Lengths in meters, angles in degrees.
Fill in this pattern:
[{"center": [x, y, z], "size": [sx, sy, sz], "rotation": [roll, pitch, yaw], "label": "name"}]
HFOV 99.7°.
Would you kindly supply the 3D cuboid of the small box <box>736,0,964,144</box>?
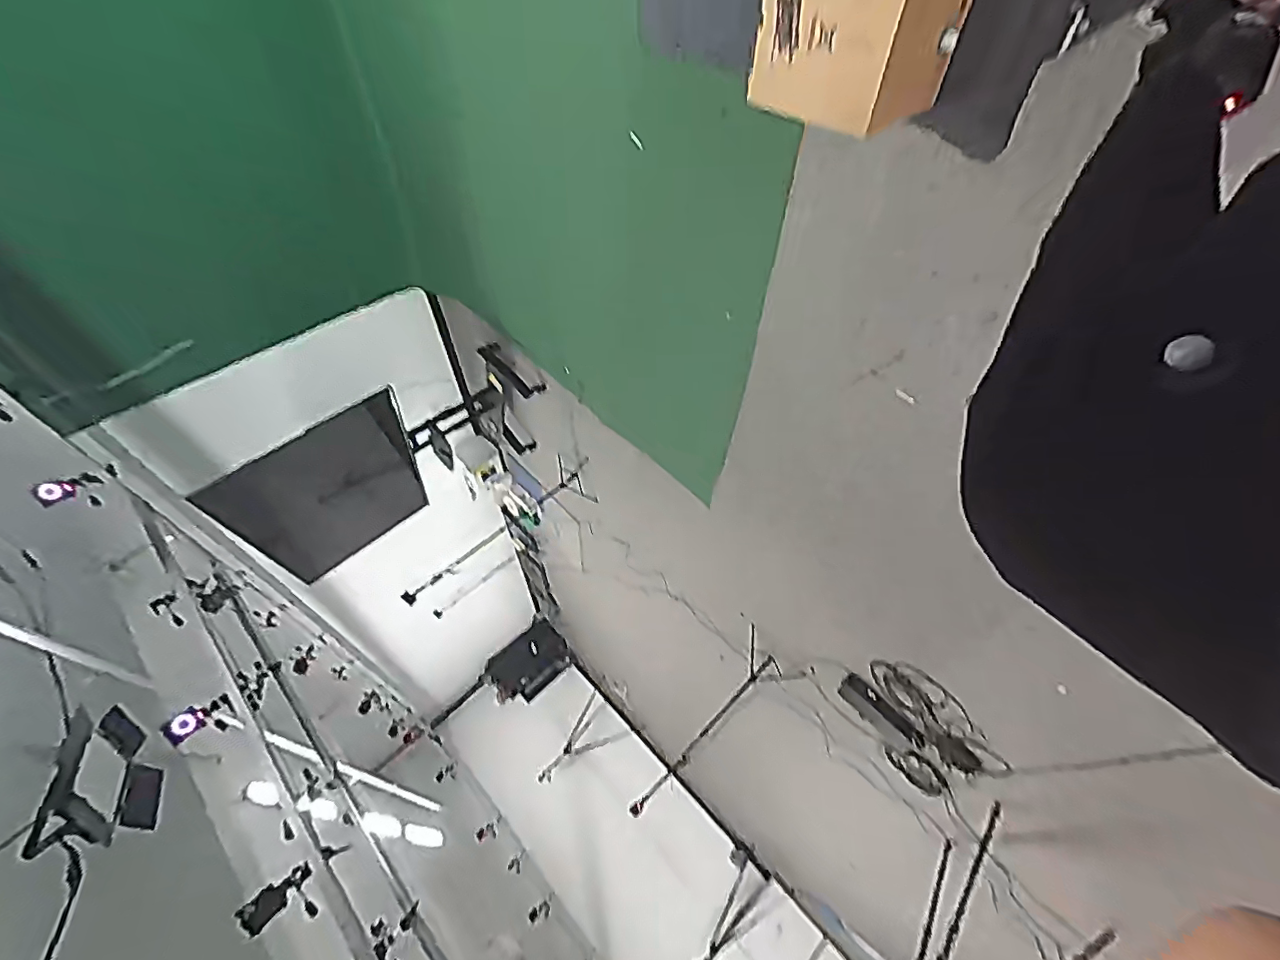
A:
[{"center": [0.241, -0.522, 0.624], "size": [0.179, 0.176, 0.168], "rotation": [39, 151, 26], "label": "small box"}]
